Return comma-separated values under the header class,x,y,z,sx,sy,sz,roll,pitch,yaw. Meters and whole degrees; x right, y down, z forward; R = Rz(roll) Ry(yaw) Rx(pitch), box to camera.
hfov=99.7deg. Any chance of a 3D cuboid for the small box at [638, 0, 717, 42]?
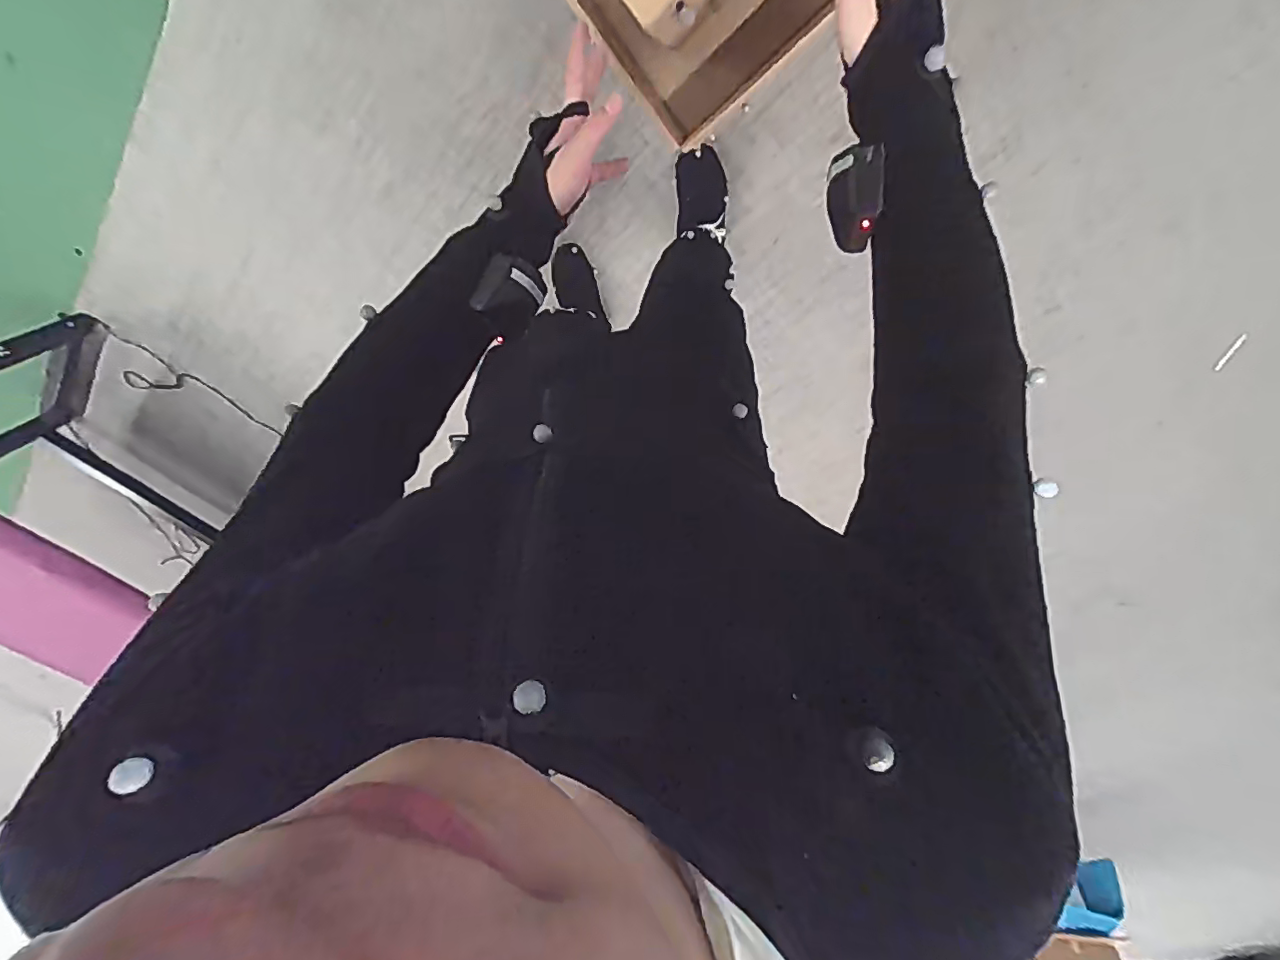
class,x,y,z,sx,sy,sz,roll,pitch,yaw
small box,0.041,-0.604,0.561,0.168,0.176,0.179,-34,115,29
